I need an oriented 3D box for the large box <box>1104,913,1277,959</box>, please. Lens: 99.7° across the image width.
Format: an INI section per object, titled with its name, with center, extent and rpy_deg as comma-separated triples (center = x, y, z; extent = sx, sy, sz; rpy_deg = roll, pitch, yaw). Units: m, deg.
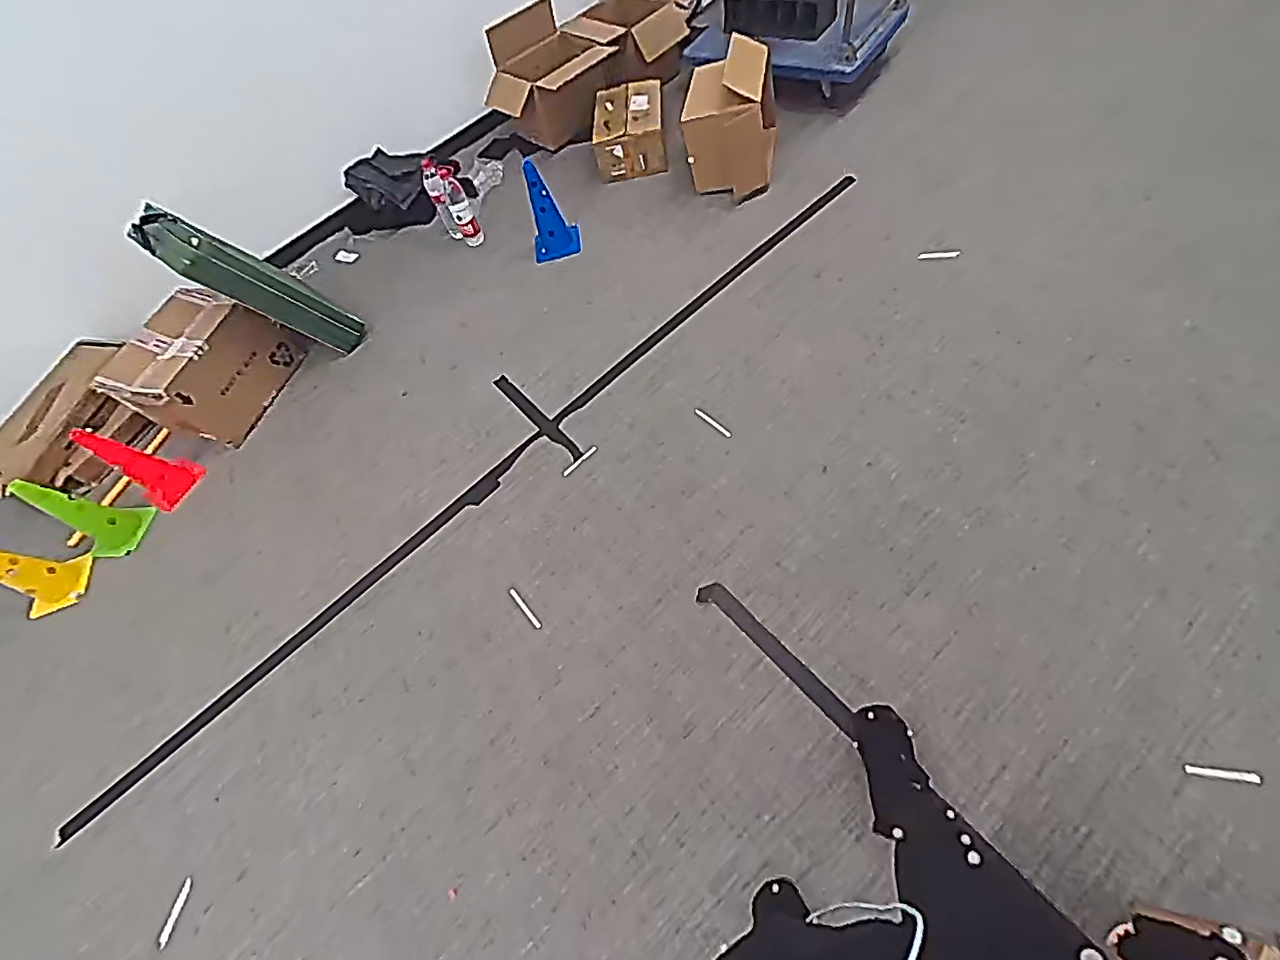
[large box]
center = 0.837, 0.927, 0.745
extent = 0.408, 0.320, 0.320
rpy_deg = -43, 61, -14
